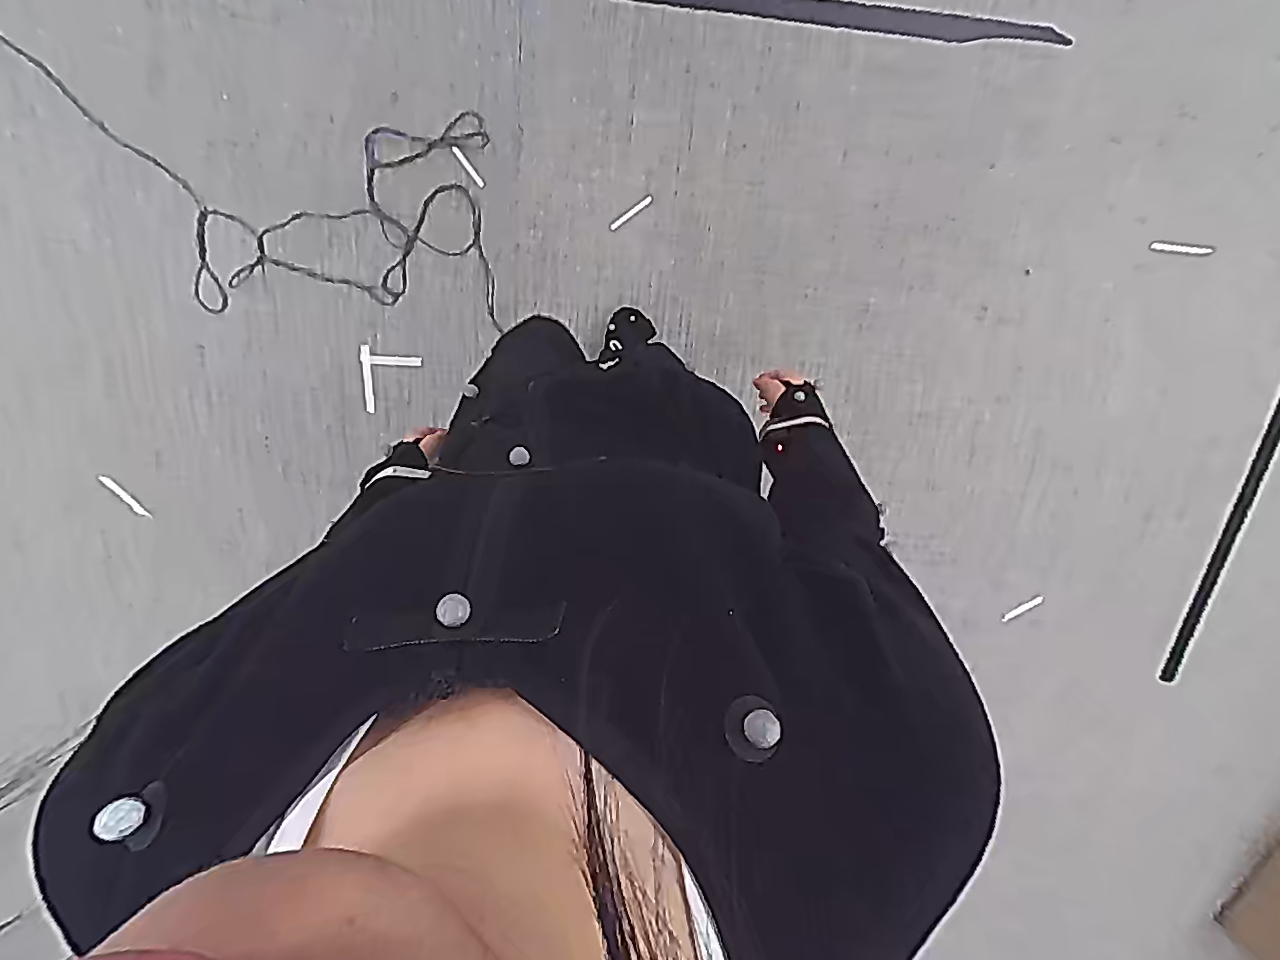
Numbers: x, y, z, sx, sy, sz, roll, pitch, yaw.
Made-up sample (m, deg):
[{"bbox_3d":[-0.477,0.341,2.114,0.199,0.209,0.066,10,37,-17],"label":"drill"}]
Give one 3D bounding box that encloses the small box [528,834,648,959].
[{"bbox_3d":[-0.078,0.680,0.828,0.168,0.176,0.179,4,107,-1],"label":"small box"}]
